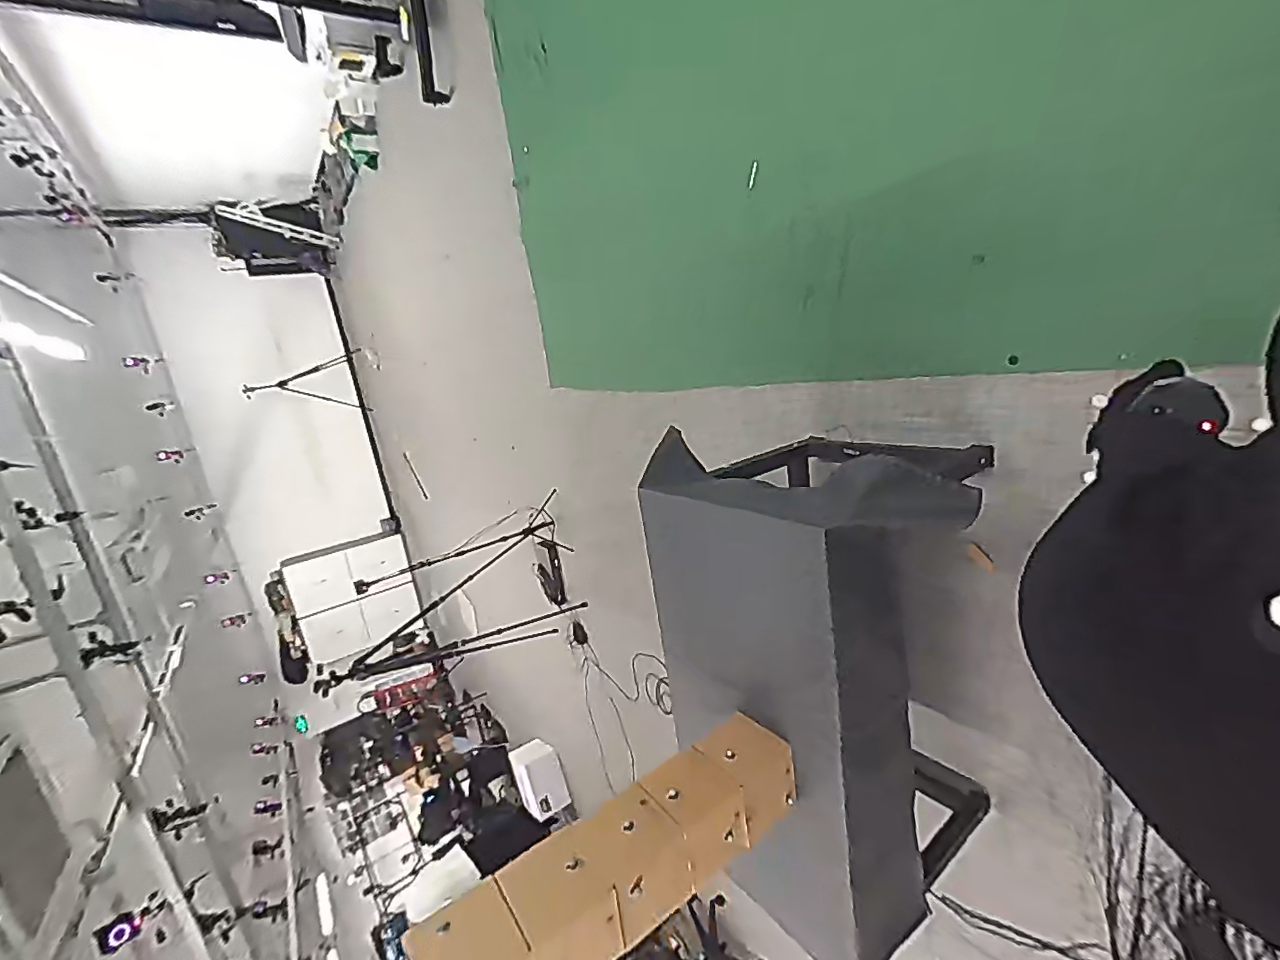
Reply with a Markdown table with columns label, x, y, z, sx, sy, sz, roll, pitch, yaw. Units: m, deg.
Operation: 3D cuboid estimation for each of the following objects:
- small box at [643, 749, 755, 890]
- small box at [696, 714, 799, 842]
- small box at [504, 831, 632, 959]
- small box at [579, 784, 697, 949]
| label | x | y | z | sx | sy | sz | roll | pitch | yaw |
| --- | --- | --- | --- | --- | --- | --- | --- | --- | --- |
| small box | 0.131 | 0.732 | 1.194 | 0.179 | 0.176 | 0.168 | 10 | 113 | 54 |
| small box | 0.261 | 0.692 | 1.281 | 0.179 | 0.176 | 0.168 | 11 | 113 | 56 |
| small box | -0.134 | 0.808 | 1.015 | 0.179 | 0.176 | 0.168 | 14 | 116 | 54 |
| small box | -0.001 | 0.772 | 1.104 | 0.168 | 0.176 | 0.179 | 13 | 115 | 54 |
